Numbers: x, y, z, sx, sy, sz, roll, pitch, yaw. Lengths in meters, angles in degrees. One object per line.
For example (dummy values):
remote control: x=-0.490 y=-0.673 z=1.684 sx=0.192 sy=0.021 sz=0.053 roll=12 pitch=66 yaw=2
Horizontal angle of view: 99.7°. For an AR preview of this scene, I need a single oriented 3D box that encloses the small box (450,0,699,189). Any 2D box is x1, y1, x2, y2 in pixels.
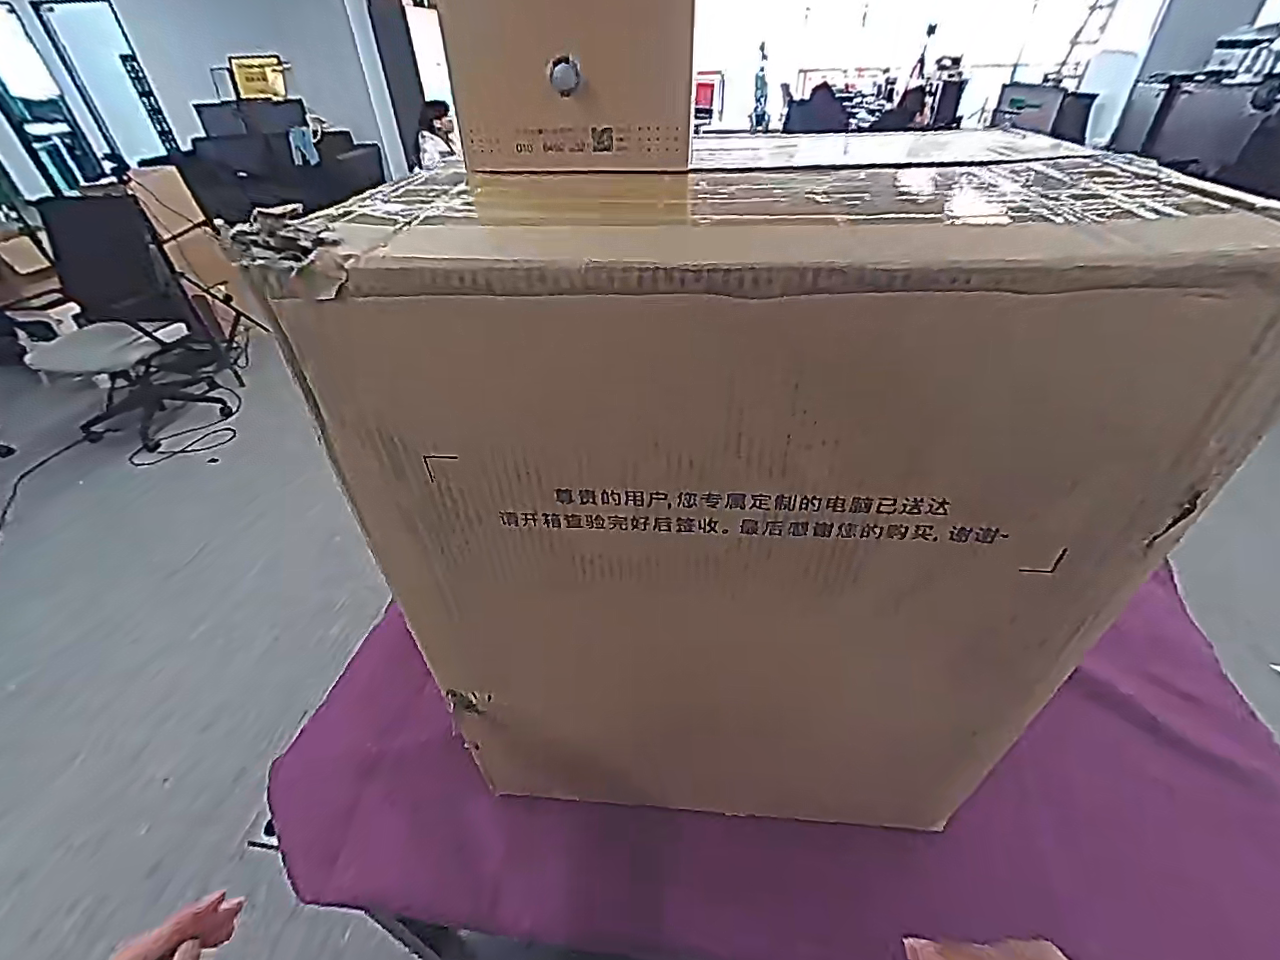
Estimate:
small box: x=-0.039 y=-0.337 z=0.420 sx=0.168 sy=0.176 sz=0.179 roll=2 pitch=38 yaw=5
